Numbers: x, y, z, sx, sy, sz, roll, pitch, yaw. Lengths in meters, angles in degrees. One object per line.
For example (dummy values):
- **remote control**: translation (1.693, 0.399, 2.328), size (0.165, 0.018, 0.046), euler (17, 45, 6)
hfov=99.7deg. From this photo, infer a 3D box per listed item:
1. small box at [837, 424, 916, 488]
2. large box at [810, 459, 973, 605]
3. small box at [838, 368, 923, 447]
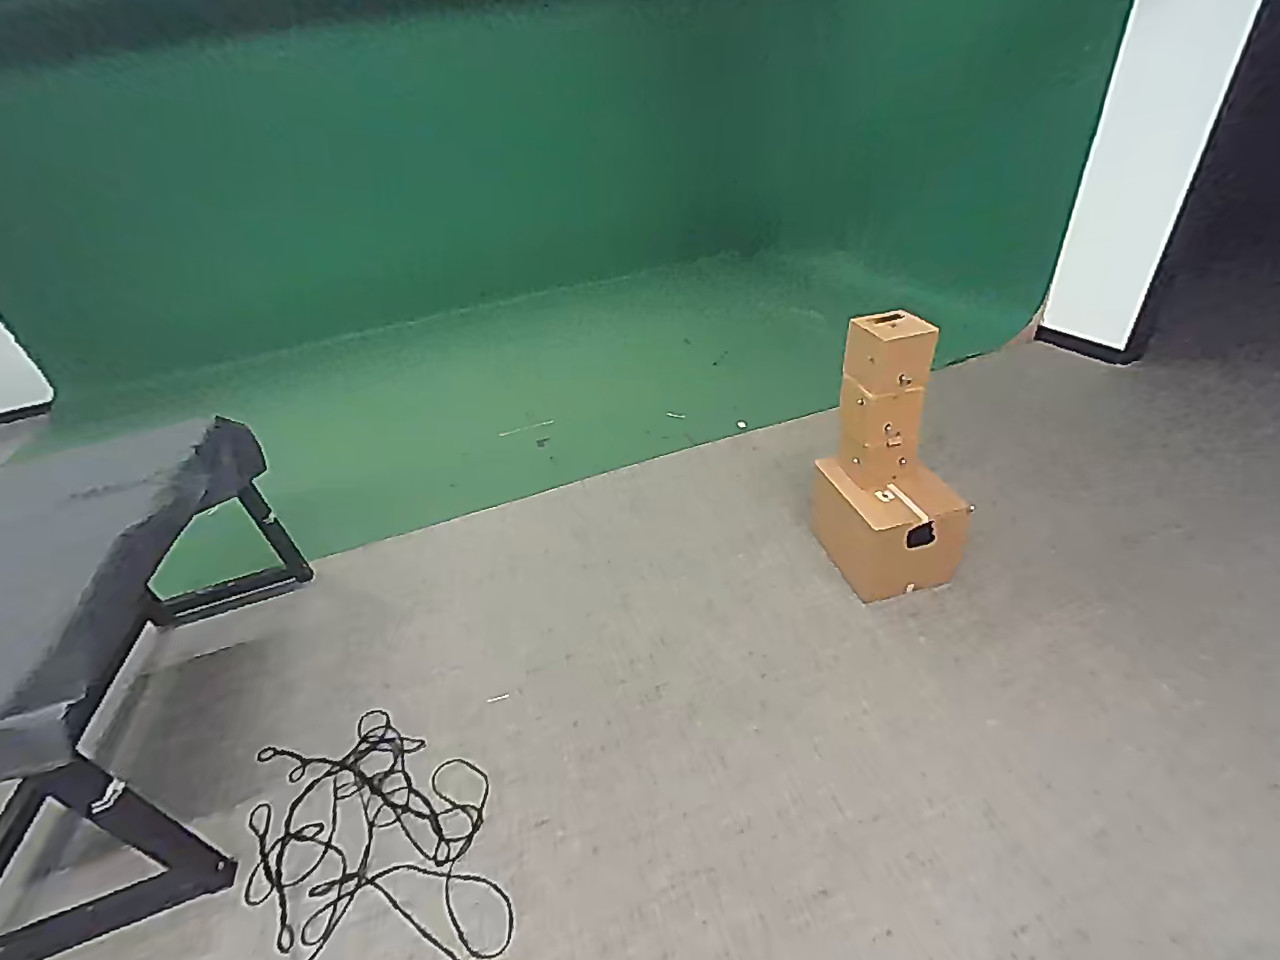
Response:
- **small box**: translation (0.751, -0.087, 1.735), size (0.168, 0.176, 0.179), euler (-12, 34, -6)
- **large box**: translation (0.810, 0.143, 1.818), size (0.320, 0.320, 0.408), euler (-14, 36, -5)
- **small box**: translation (0.723, -0.221, 1.647), size (0.168, 0.176, 0.179), euler (-11, 36, -4)
